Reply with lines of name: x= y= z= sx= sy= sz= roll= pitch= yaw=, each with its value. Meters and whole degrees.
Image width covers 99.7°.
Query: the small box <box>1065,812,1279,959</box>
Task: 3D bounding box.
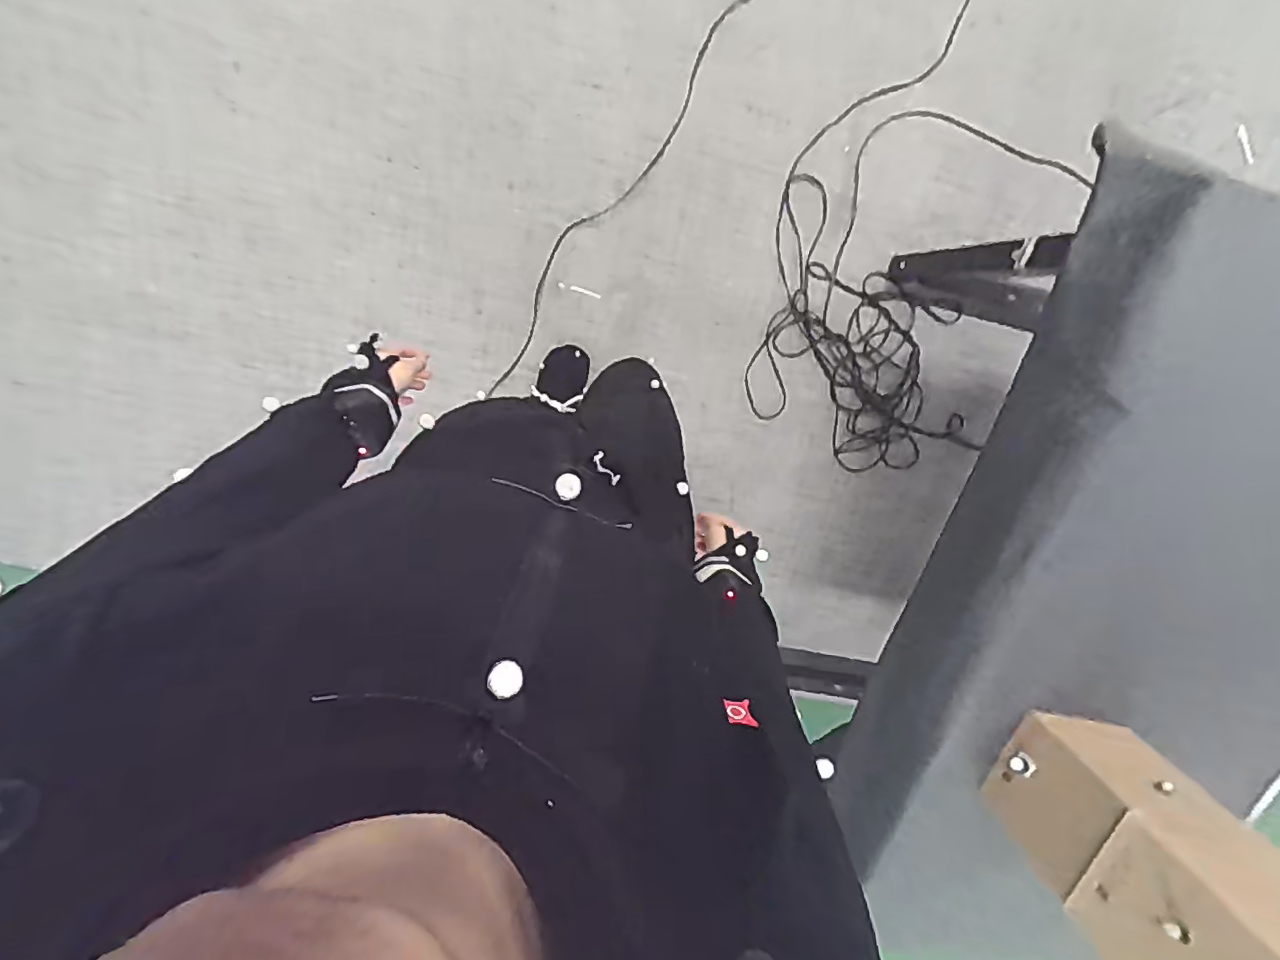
small box: x=0.629 y=0.499 z=0.590 sx=0.179 sy=0.176 sz=0.168 roll=12 pitch=107 yaw=-9

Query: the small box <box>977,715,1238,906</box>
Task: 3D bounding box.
small box: x=0.623 y=0.453 z=0.746 sx=0.179 sy=0.176 sz=0.168 roll=13 pitch=106 yaw=-8
